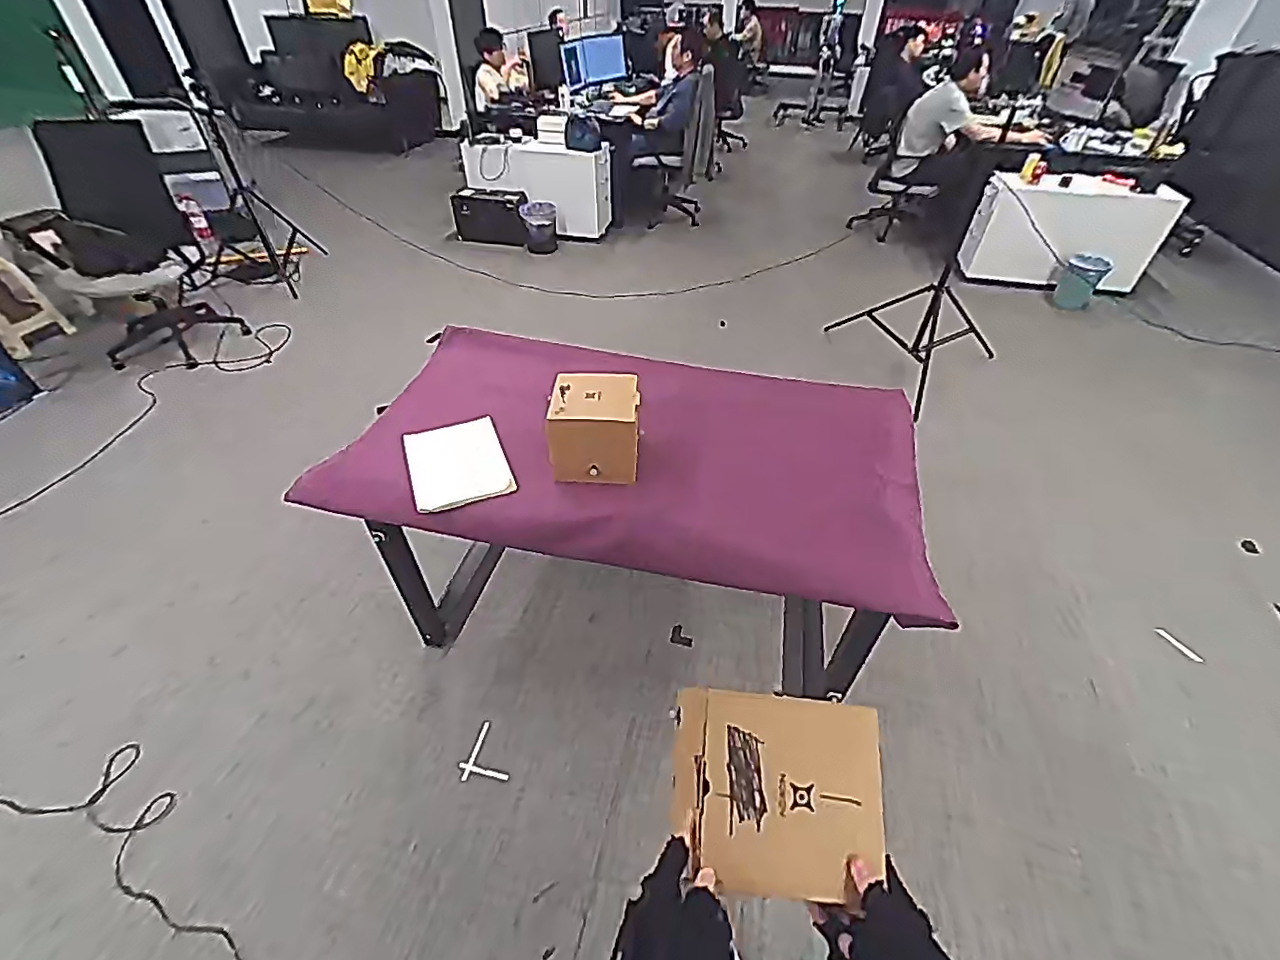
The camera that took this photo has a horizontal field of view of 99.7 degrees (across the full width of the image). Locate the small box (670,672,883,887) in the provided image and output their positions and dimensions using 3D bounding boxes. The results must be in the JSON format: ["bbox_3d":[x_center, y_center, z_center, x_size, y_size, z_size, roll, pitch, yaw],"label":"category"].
[{"bbox_3d":[0.132,0.303,0.579,0.179,0.176,0.168,8,70,-4],"label":"small box"}]

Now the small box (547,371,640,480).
[{"bbox_3d":[-0.093,-0.114,1.156,0.179,0.176,0.168,2,42,1],"label":"small box"}]
